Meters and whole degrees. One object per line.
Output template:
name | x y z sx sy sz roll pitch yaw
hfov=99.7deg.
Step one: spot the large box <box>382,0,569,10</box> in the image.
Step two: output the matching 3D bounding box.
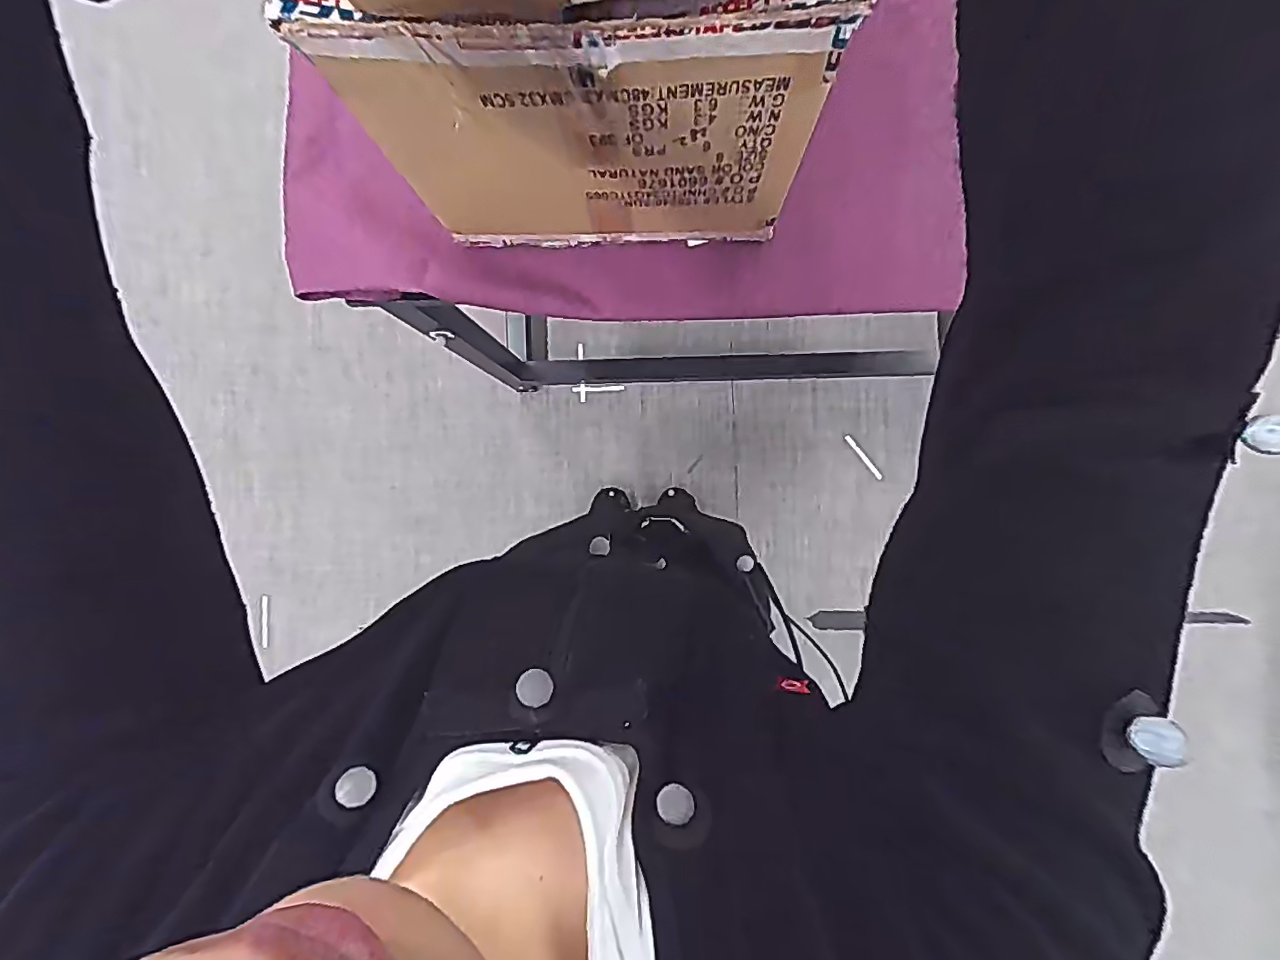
large box | -0.034 -0.497 0.185 0.320 0.320 0.408 -1 93 5
